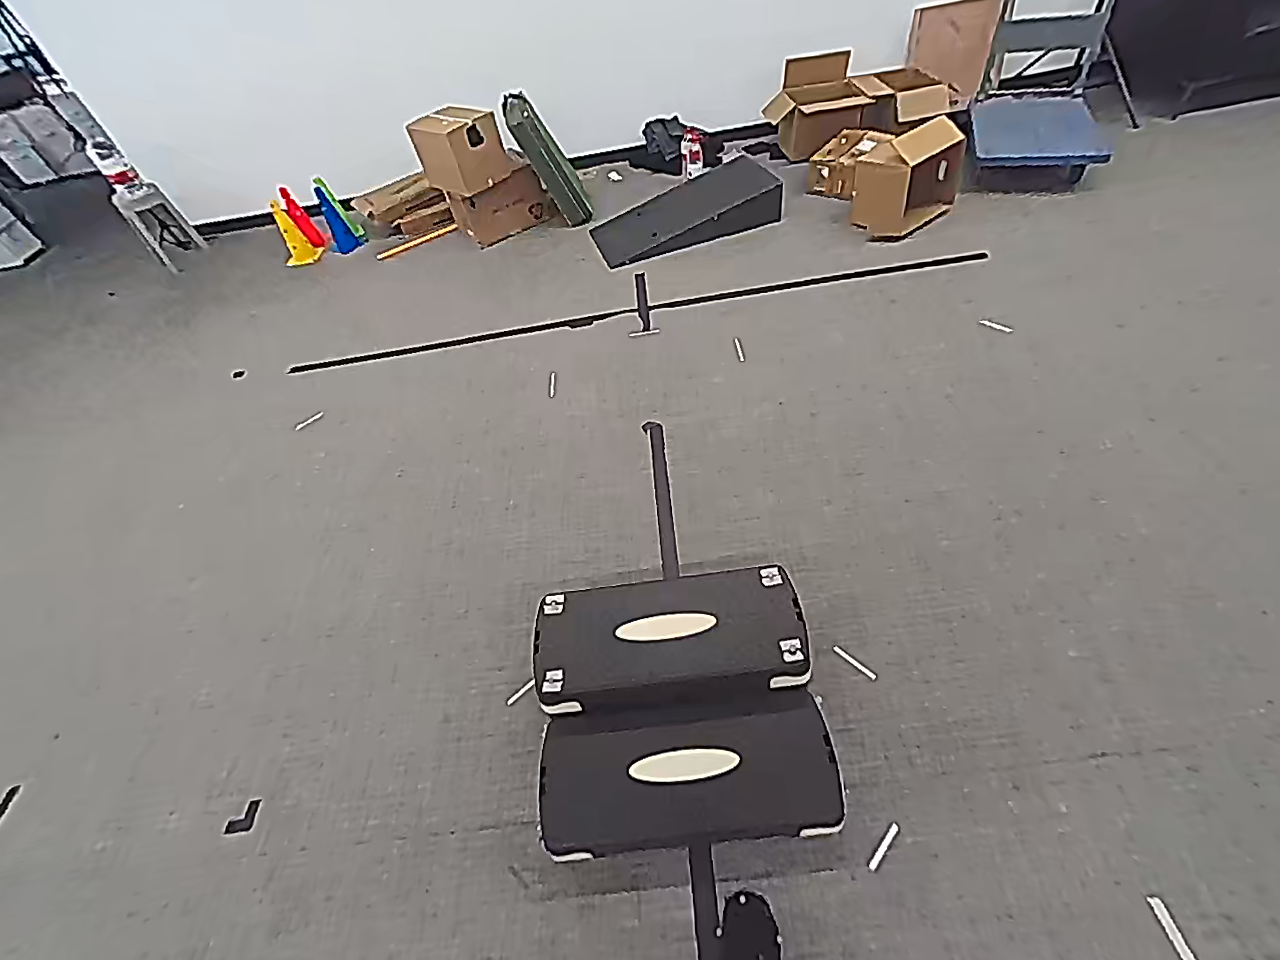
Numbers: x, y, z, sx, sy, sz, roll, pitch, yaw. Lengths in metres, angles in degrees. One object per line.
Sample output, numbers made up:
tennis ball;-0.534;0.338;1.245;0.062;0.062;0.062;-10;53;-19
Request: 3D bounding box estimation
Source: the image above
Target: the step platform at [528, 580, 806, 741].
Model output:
step platform;0.063;0.454;1.378;0.684;0.204;0.286;-8;49;2
